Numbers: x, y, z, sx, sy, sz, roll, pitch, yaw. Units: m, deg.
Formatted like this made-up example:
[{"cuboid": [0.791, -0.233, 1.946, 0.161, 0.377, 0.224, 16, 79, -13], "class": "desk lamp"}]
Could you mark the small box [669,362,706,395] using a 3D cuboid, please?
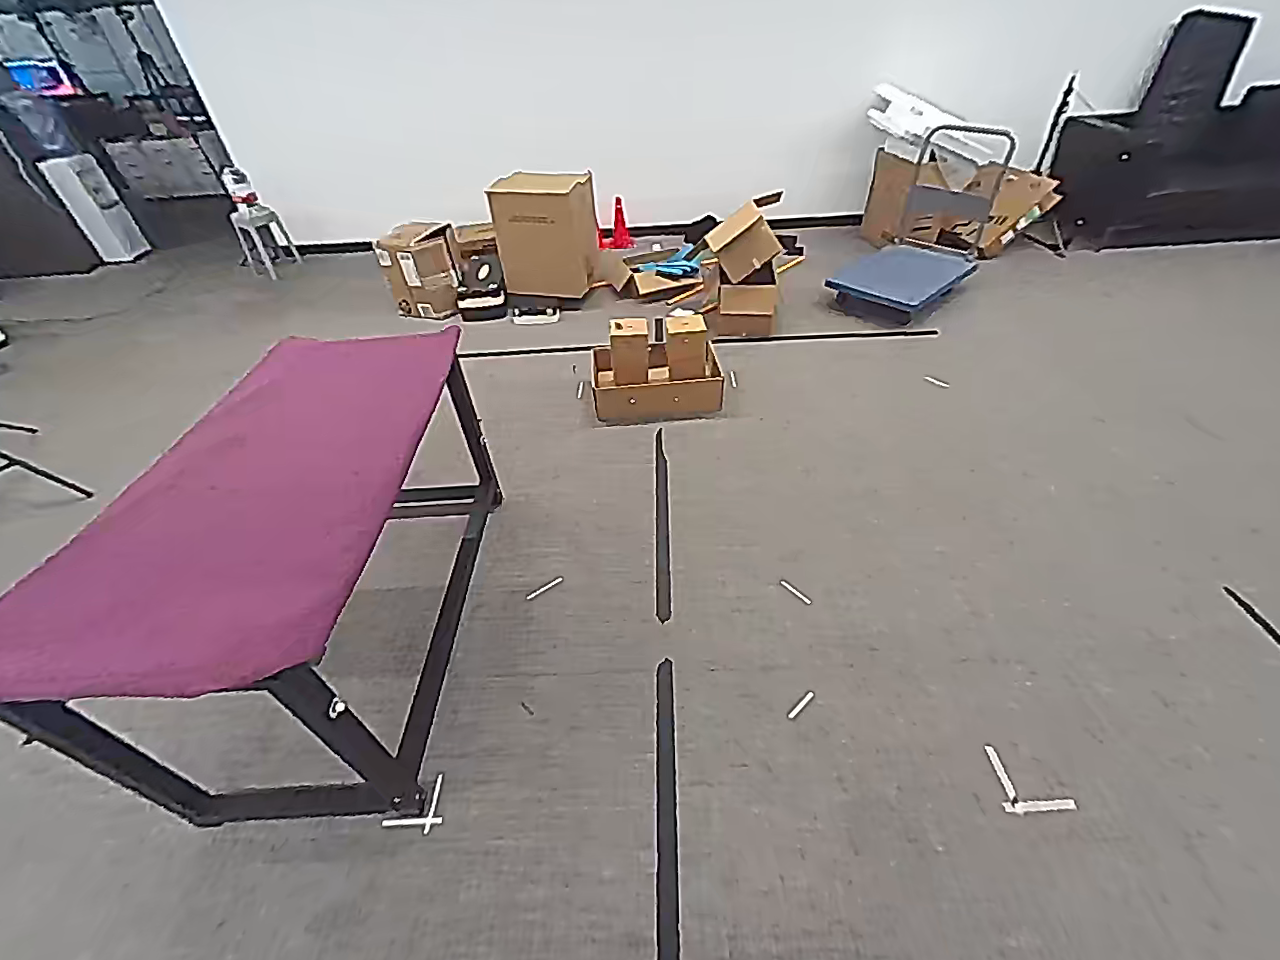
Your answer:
[{"cuboid": [0.236, -0.532, 2.674, 0.168, 0.176, 0.179, -5, 41, 0], "class": "small box"}]

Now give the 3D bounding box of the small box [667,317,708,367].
[{"cuboid": [0.223, -0.652, 2.565, 0.179, 0.176, 0.168, -6, 42, 0], "class": "small box"}]

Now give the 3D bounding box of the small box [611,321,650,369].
[{"cuboid": [-0.045, -0.637, 2.568, 0.179, 0.176, 0.168, -2, 42, -1], "class": "small box"}]
